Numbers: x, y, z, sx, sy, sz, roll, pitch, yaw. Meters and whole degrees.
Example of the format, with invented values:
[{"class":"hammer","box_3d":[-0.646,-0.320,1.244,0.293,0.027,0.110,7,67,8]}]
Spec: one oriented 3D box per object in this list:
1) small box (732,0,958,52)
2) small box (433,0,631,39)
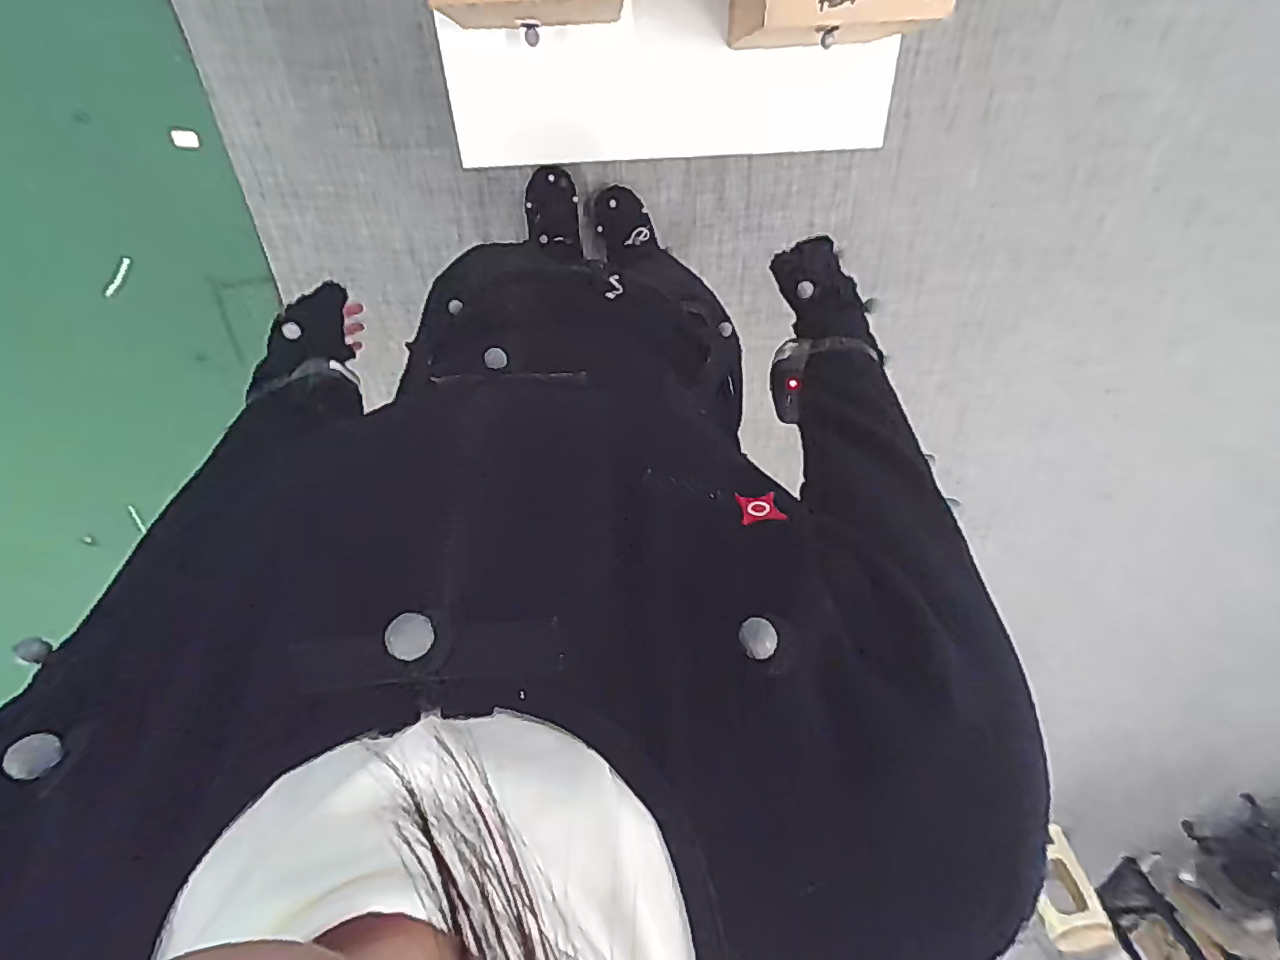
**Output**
[{"class":"small box","box_3d":[0.179,-0.507,0.481,0.168,0.176,0.179,-4,123,0]},{"class":"small box","box_3d":[-0.098,-0.509,0.468,0.168,0.176,0.179,-5,125,1]}]
